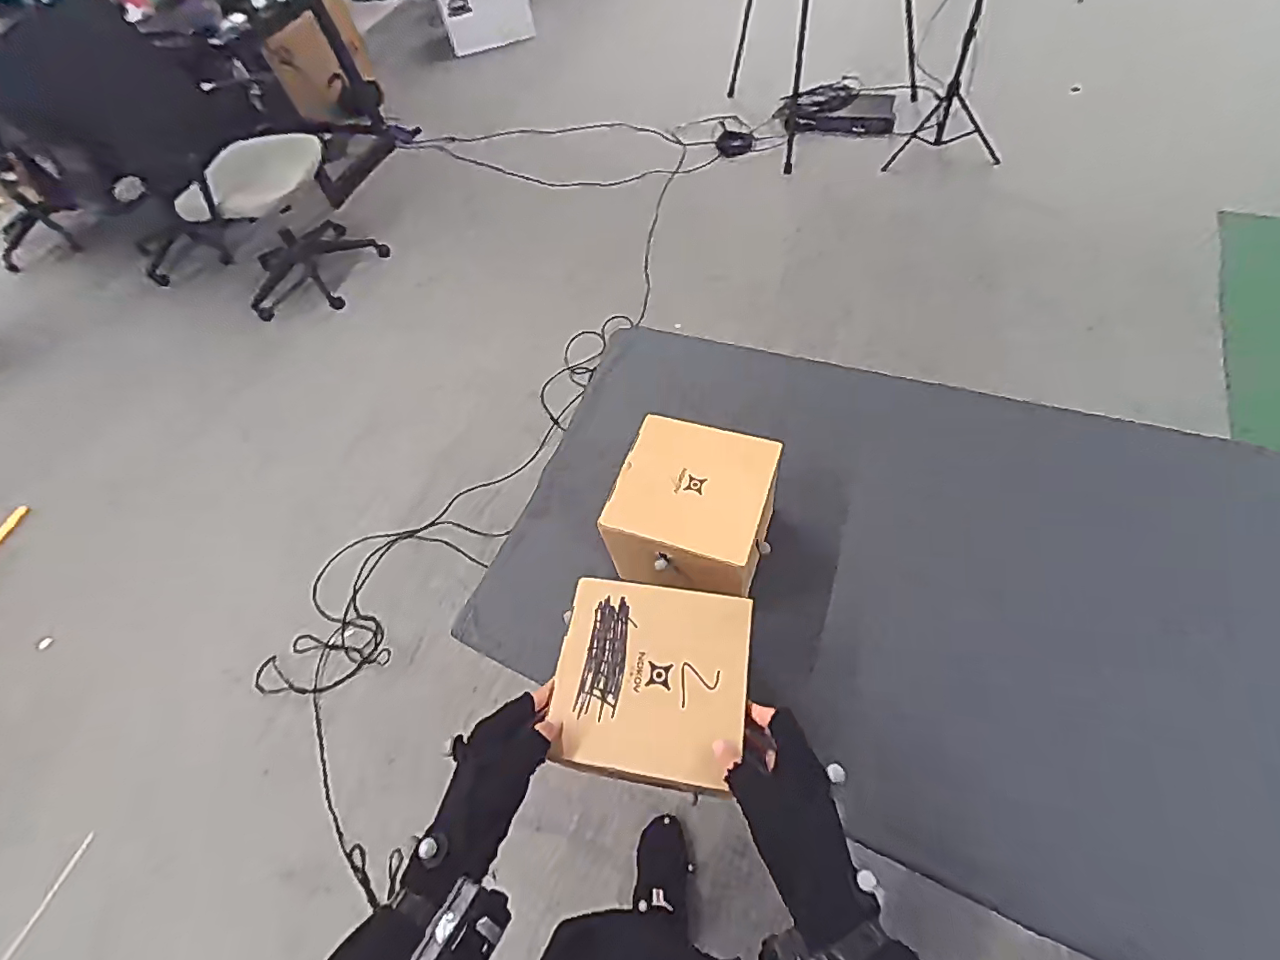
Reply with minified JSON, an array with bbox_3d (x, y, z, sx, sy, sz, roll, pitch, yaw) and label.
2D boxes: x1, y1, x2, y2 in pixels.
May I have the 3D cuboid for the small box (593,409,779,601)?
[{"bbox_3d":[0.066,0.038,0.689,0.179,0.176,0.168,15,63,18],"label":"small box"}]
